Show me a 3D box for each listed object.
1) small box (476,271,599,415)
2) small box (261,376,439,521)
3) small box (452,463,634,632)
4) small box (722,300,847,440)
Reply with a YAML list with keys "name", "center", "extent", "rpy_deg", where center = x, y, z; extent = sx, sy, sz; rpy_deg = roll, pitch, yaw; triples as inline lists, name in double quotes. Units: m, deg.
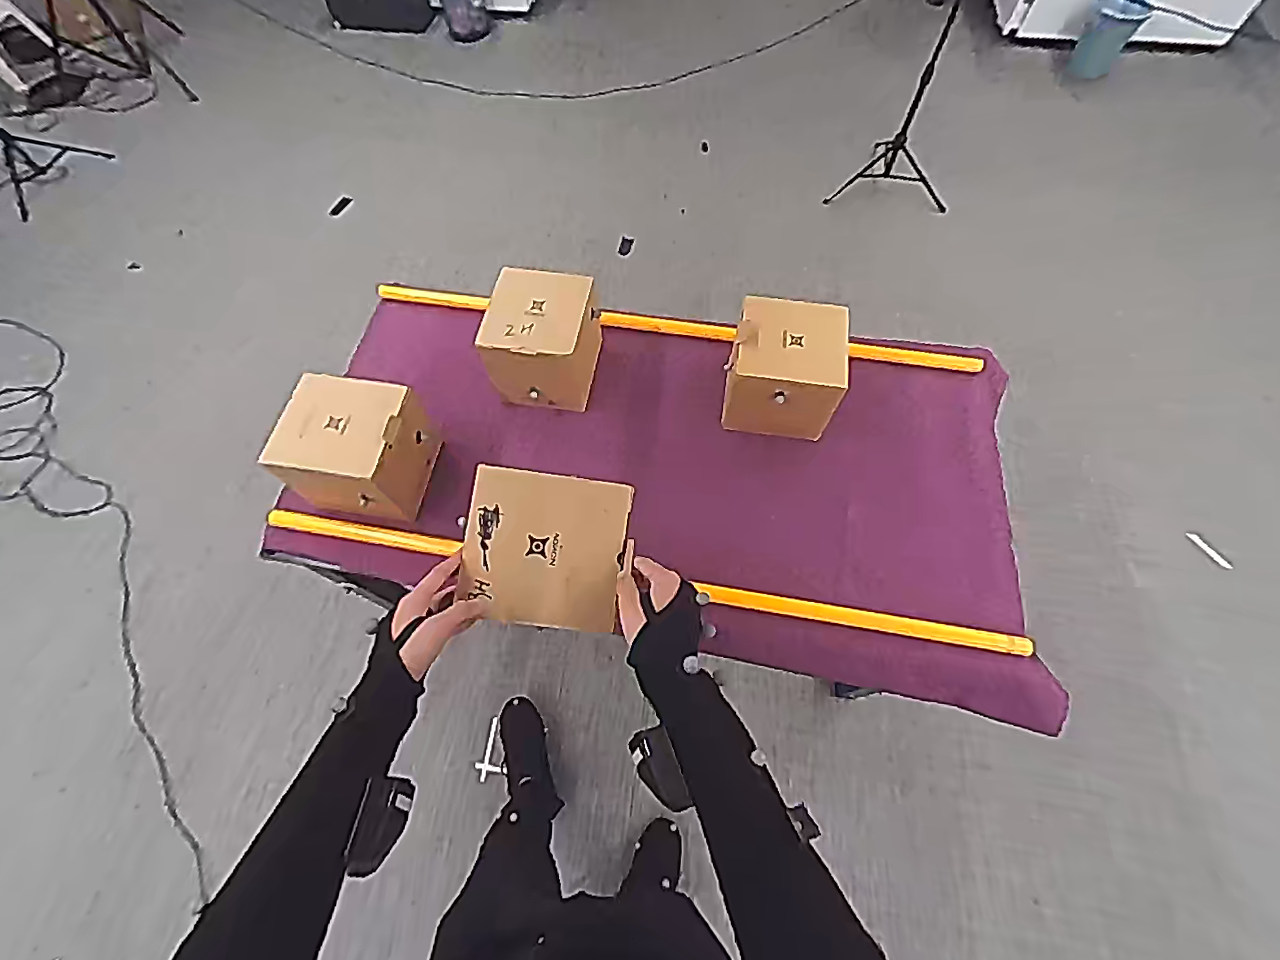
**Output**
- name: "small box"
  center: [-0.172, -0.244, 0.978]
  extent: [0.168, 0.176, 0.179]
  rpy_deg: [8, 66, 6]
- name: "small box"
  center: [-0.453, -0.044, 0.882]
  extent: [0.179, 0.176, 0.168]
  rpy_deg: [8, 63, 3]
- name: "small box"
  center: [-0.112, 0.086, 0.670]
  extent: [0.179, 0.176, 0.168]
  rpy_deg: [9, 79, -4]
- name: "small box"
  center: [0.245, -0.184, 0.941]
  extent: [0.179, 0.176, 0.168]
  rpy_deg: [8, 65, 6]
